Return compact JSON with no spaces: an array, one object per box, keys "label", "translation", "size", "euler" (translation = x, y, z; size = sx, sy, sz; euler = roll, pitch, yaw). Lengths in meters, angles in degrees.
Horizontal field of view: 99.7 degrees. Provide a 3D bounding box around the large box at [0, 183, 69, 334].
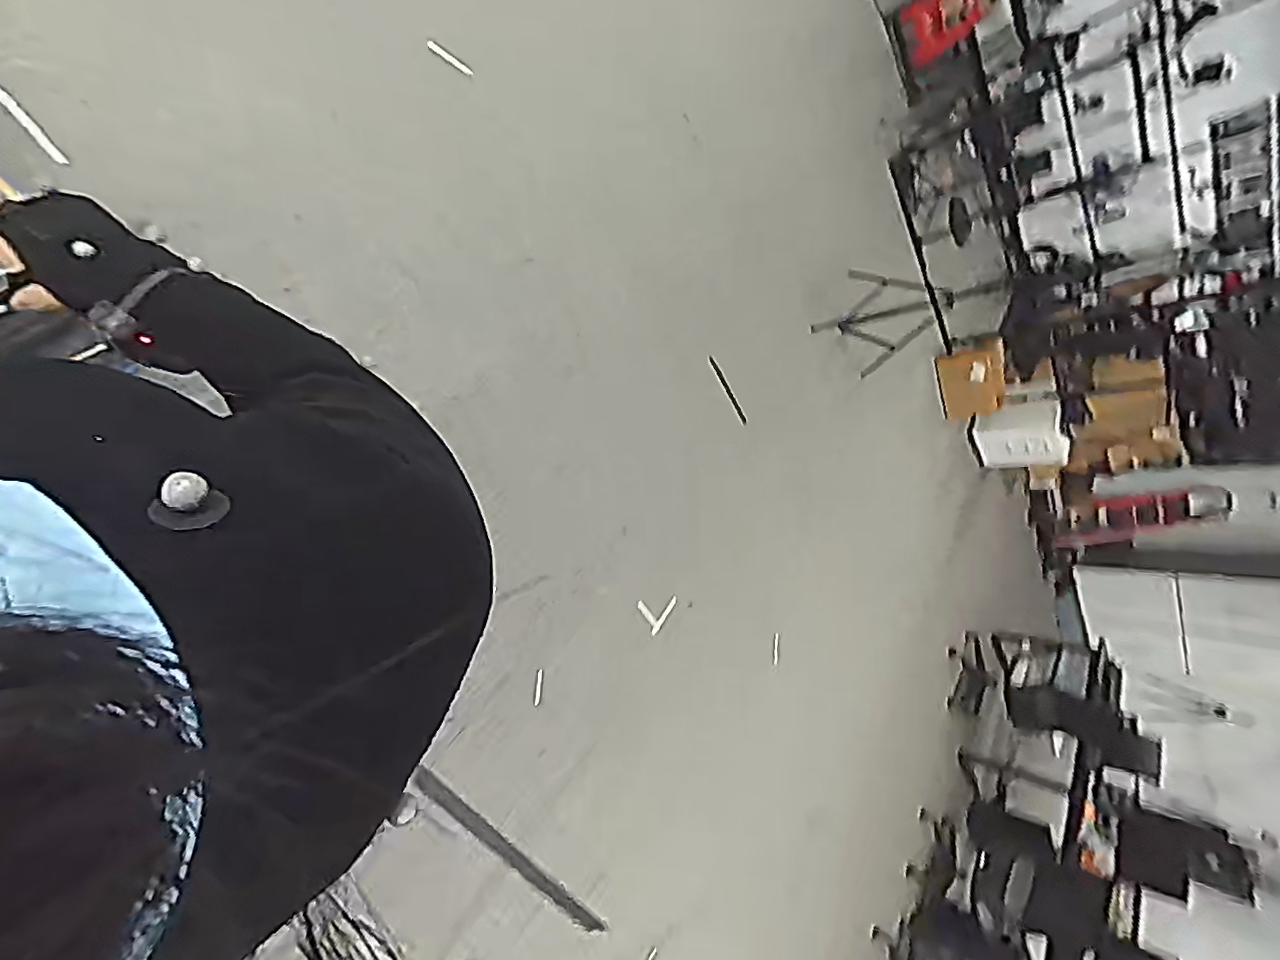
[{"label":"large box","translation":[-1.082,-0.301,0.677],"size":[0.320,0.320,0.408],"euler":[55,54,-27]}]
